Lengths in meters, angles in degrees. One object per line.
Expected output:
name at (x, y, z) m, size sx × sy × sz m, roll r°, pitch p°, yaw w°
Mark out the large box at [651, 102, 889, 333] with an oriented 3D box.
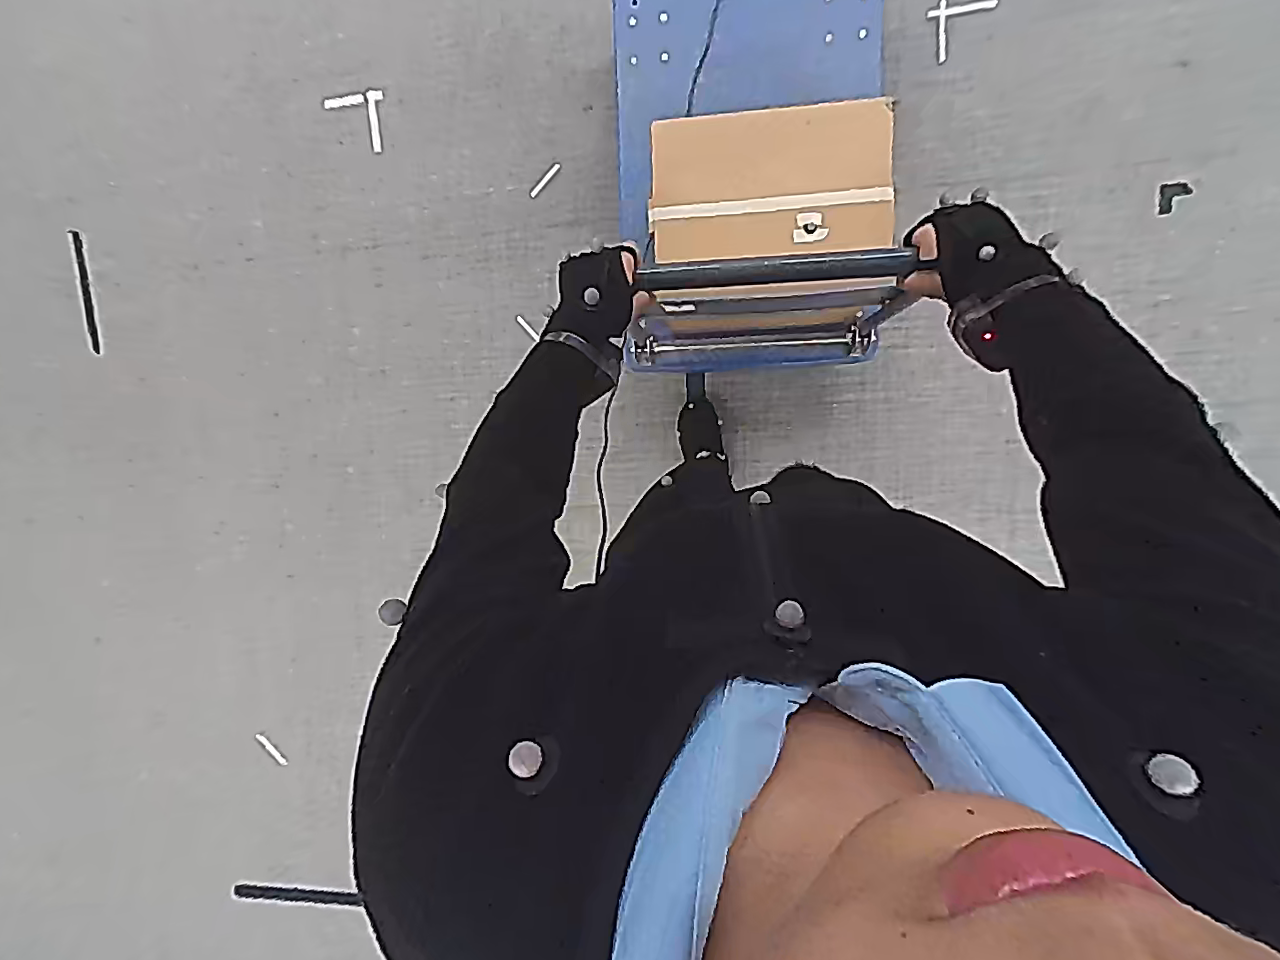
large box at (0.237, -0.485, 1.081) m, size 0.408 × 0.320 × 0.320 m, roll -1°, pitch 97°, yaw 6°
